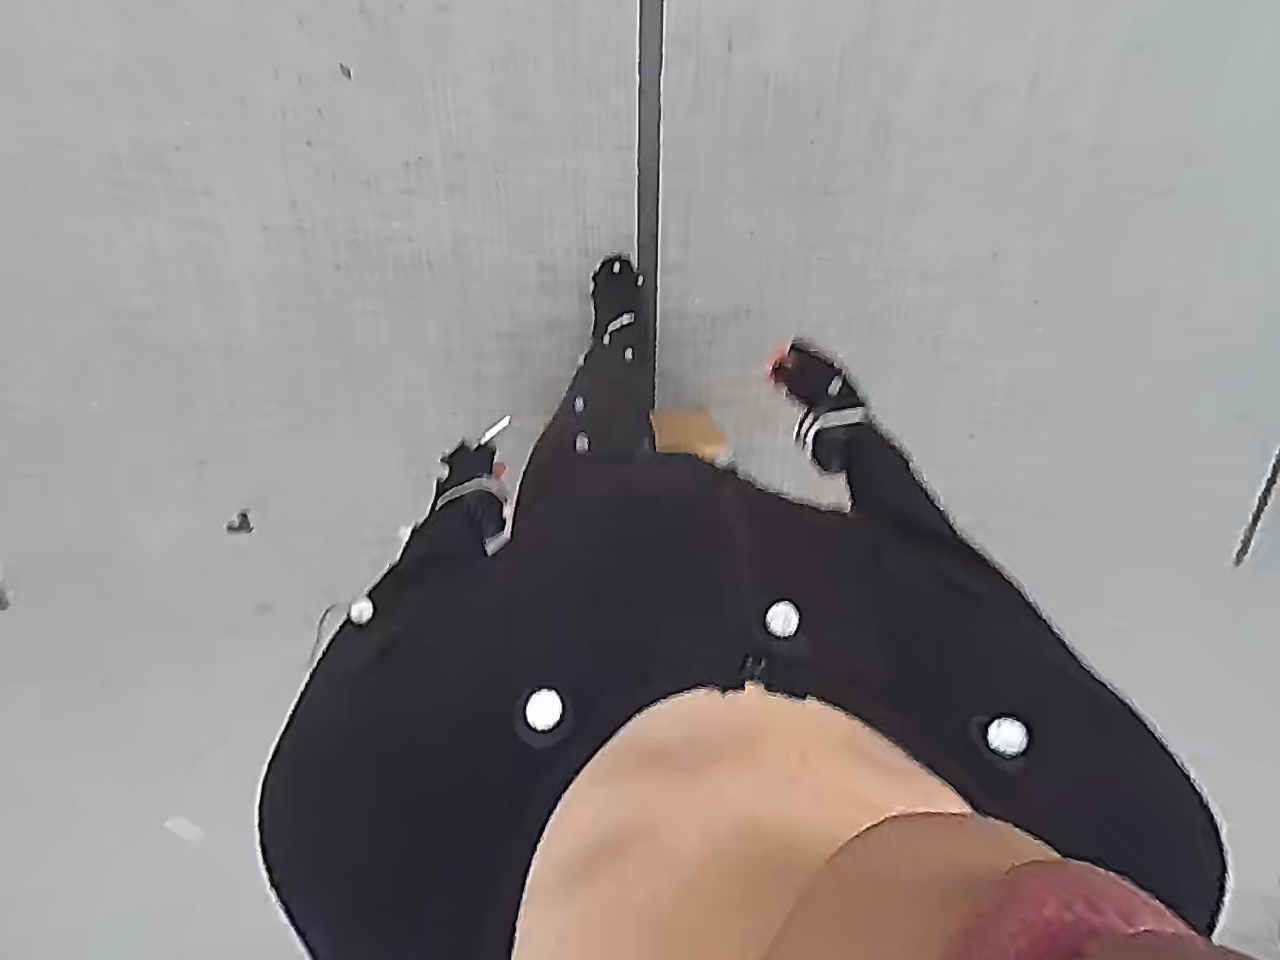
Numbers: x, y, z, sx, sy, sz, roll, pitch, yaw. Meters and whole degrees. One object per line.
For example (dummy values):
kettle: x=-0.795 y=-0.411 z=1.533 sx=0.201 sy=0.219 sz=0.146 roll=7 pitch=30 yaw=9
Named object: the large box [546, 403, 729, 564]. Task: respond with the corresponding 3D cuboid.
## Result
large box: x=-0.005 y=-0.004 z=1.356 sx=0.408 sy=0.320 sz=0.320 roll=-1 pitch=111 yaw=-1
